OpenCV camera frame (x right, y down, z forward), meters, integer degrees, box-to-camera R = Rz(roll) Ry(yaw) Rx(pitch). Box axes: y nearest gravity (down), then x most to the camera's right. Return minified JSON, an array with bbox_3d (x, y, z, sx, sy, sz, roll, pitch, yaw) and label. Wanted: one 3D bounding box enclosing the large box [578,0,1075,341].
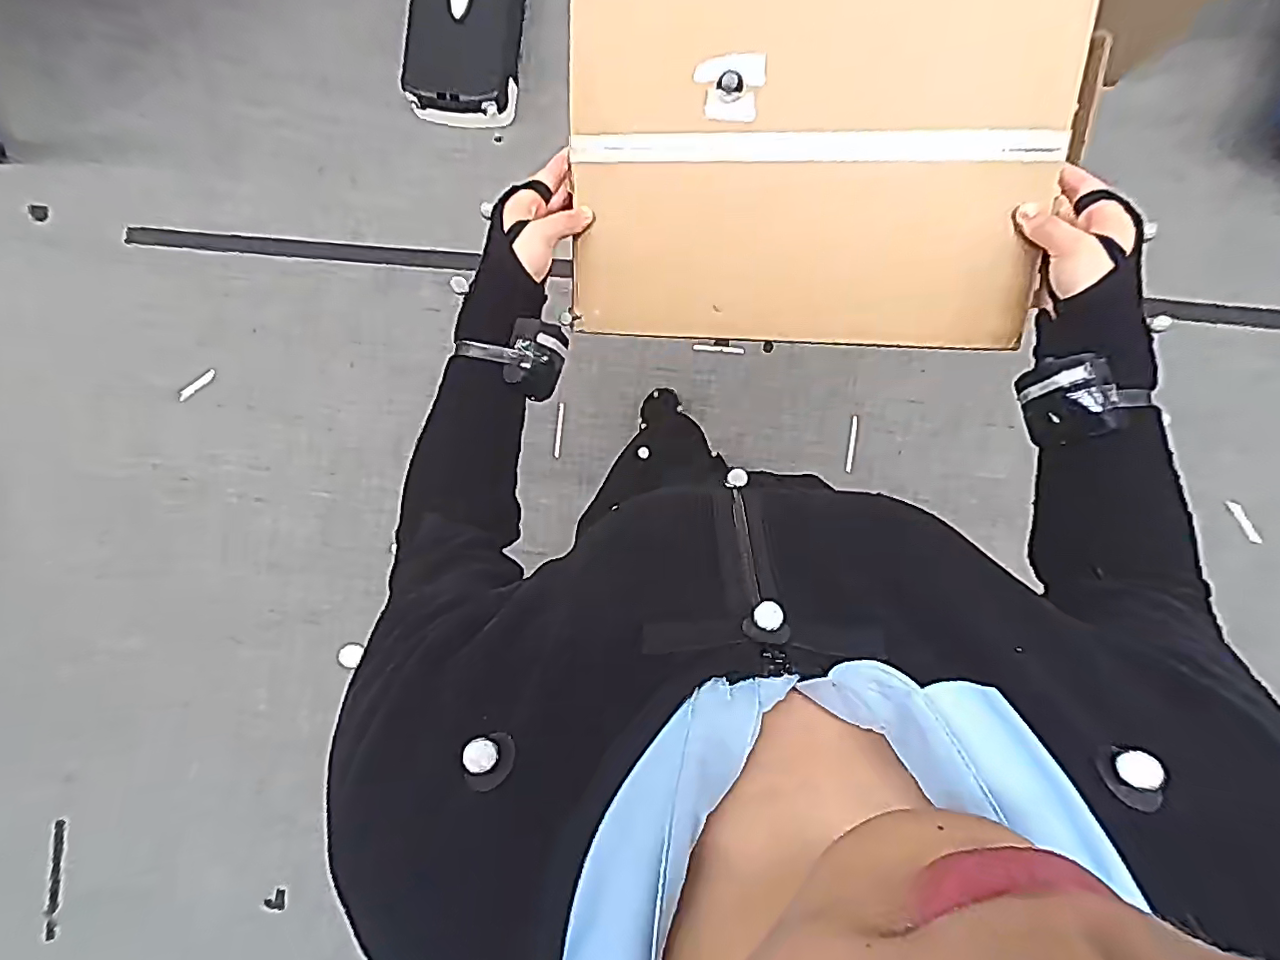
[{"bbox_3d":[0.163,-0.325,0.615,0.408,0.320,0.320,4,105,7],"label":"large box"}]
